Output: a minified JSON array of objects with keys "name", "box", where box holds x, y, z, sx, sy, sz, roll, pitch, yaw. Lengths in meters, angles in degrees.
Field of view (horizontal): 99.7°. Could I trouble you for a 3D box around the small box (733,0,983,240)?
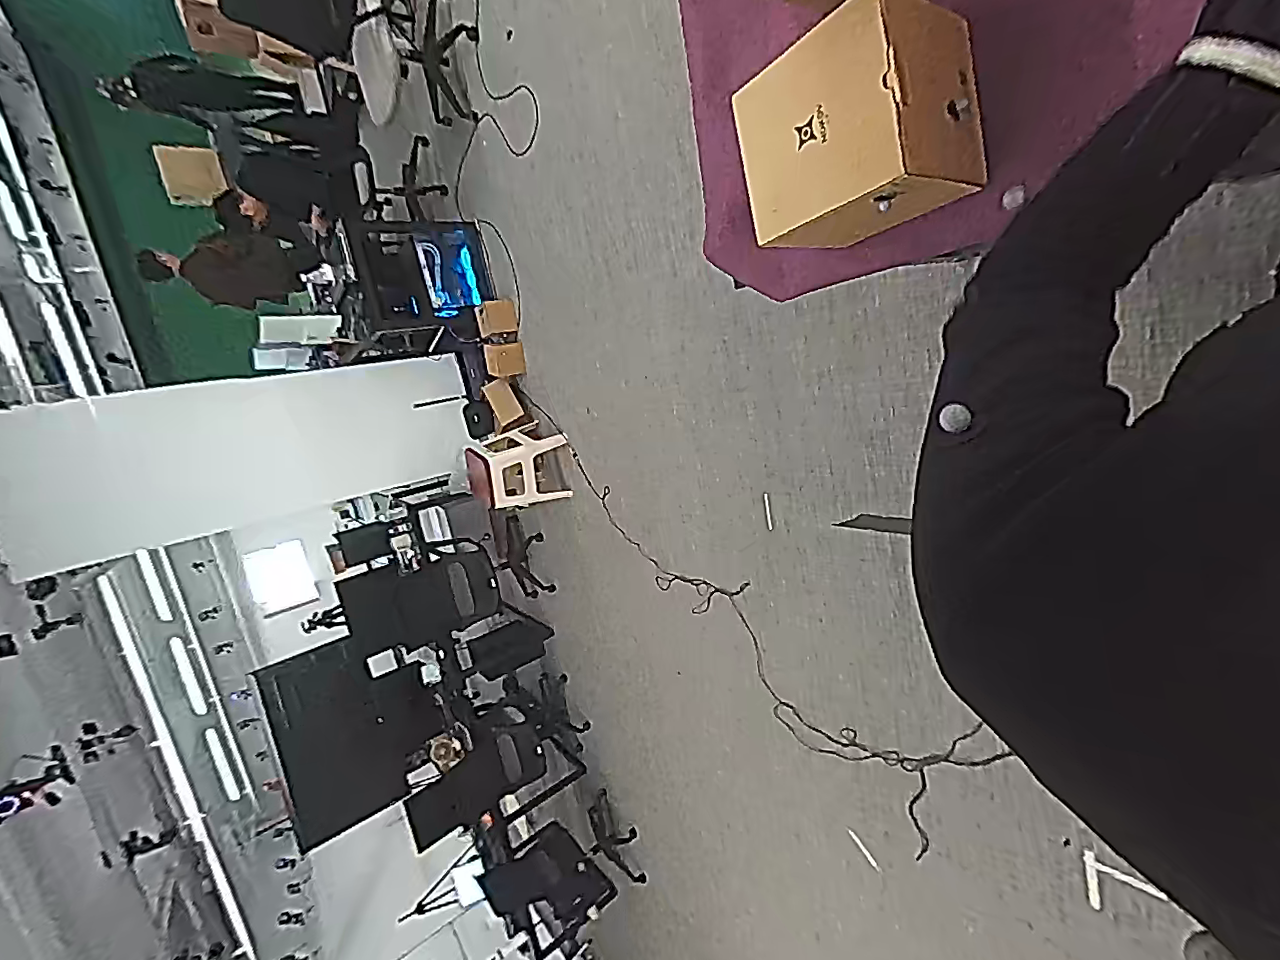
[{"name":"small box","box":[0.232,-0.371,0.583,0.179,0.176,0.168,-4,101,55]}]
